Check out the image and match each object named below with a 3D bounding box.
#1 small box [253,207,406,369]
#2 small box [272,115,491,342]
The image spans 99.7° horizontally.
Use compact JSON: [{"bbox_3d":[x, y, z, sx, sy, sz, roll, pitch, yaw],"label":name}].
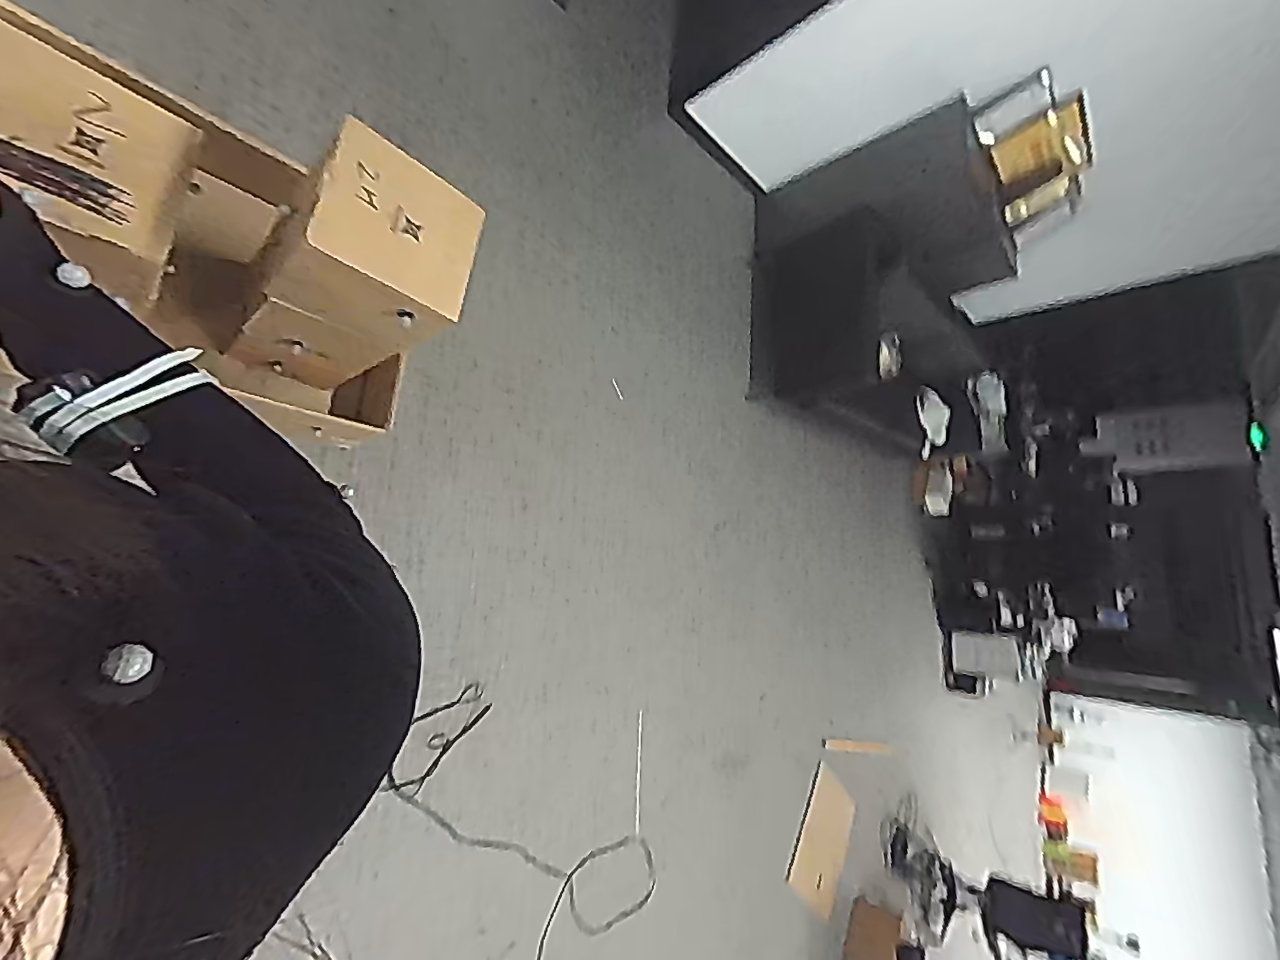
[{"bbox_3d":[-0.438,-0.284,0.792,0.168,0.176,0.179,20,73,-43],"label":"small box"},{"bbox_3d":[-0.321,-0.290,0.676,0.179,0.176,0.168,23,70,-42],"label":"small box"}]
